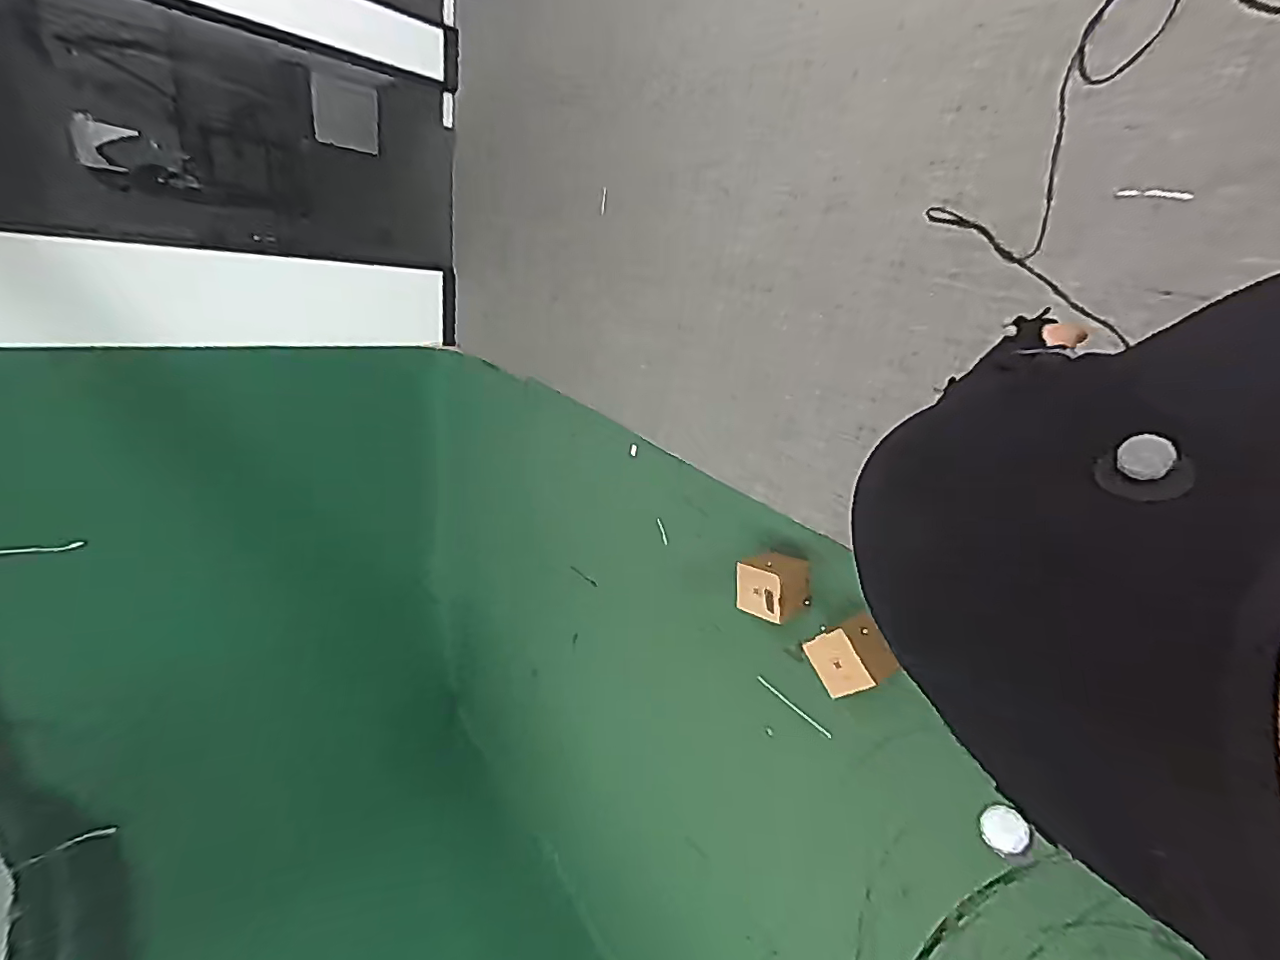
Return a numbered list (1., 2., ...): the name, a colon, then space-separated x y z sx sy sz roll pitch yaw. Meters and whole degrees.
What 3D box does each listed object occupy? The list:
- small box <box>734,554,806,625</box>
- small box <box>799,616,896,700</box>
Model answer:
1. small box: 0.430 0.353 1.787 0.179 0.176 0.168 12 107 48
2. small box: 0.619 0.523 1.613 0.168 0.176 0.179 -46 65 44
